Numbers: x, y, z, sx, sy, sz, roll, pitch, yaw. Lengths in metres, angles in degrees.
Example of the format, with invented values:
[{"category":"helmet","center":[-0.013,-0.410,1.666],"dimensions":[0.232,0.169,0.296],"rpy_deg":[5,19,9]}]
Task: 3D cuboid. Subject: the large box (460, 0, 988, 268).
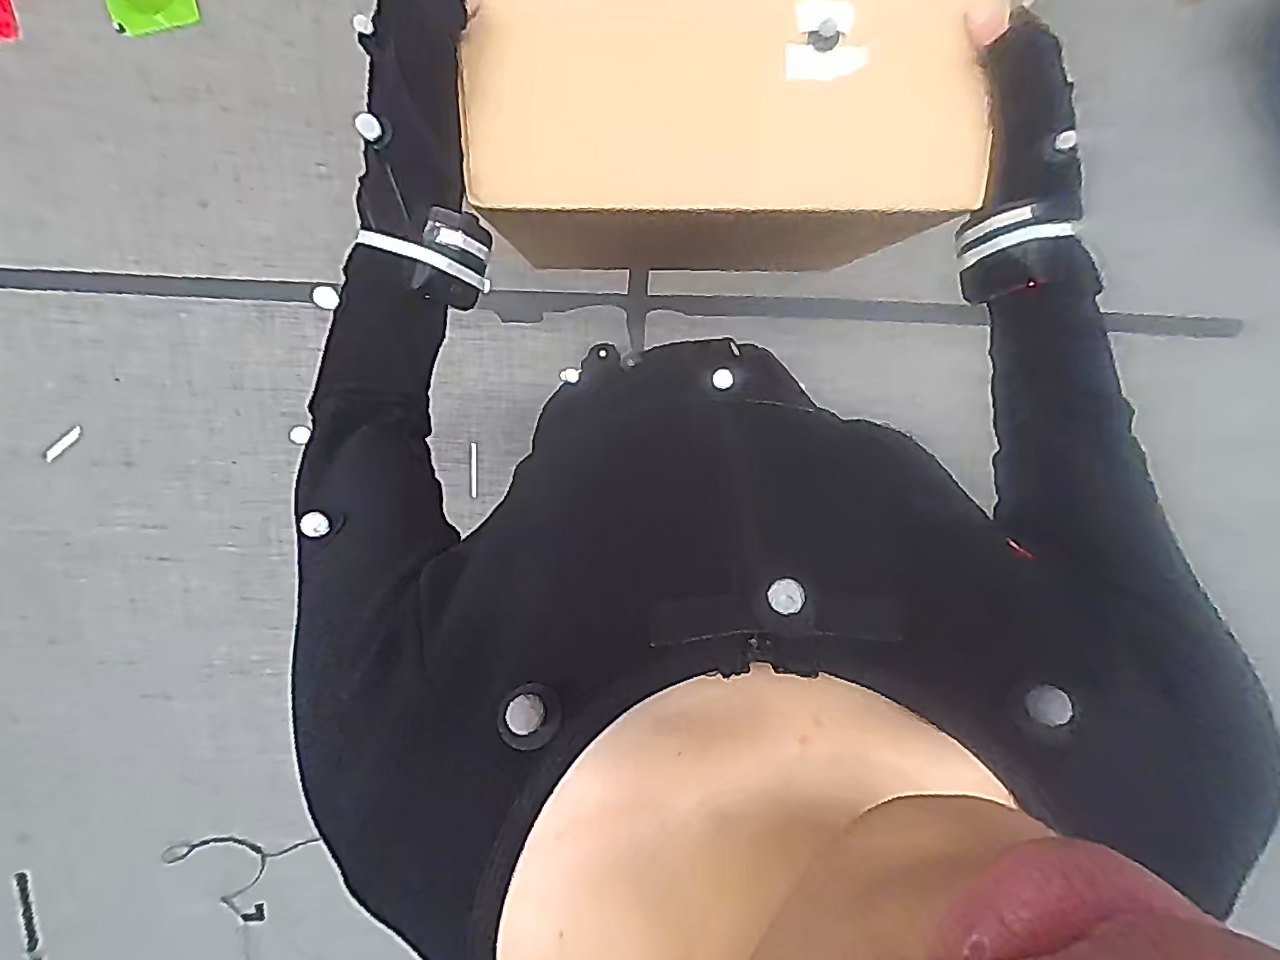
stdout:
[{"category":"large box","center":[0.057,-0.405,0.543],"dimensions":[0.408,0.320,0.320],"rpy_deg":[-1,103,-2]}]
